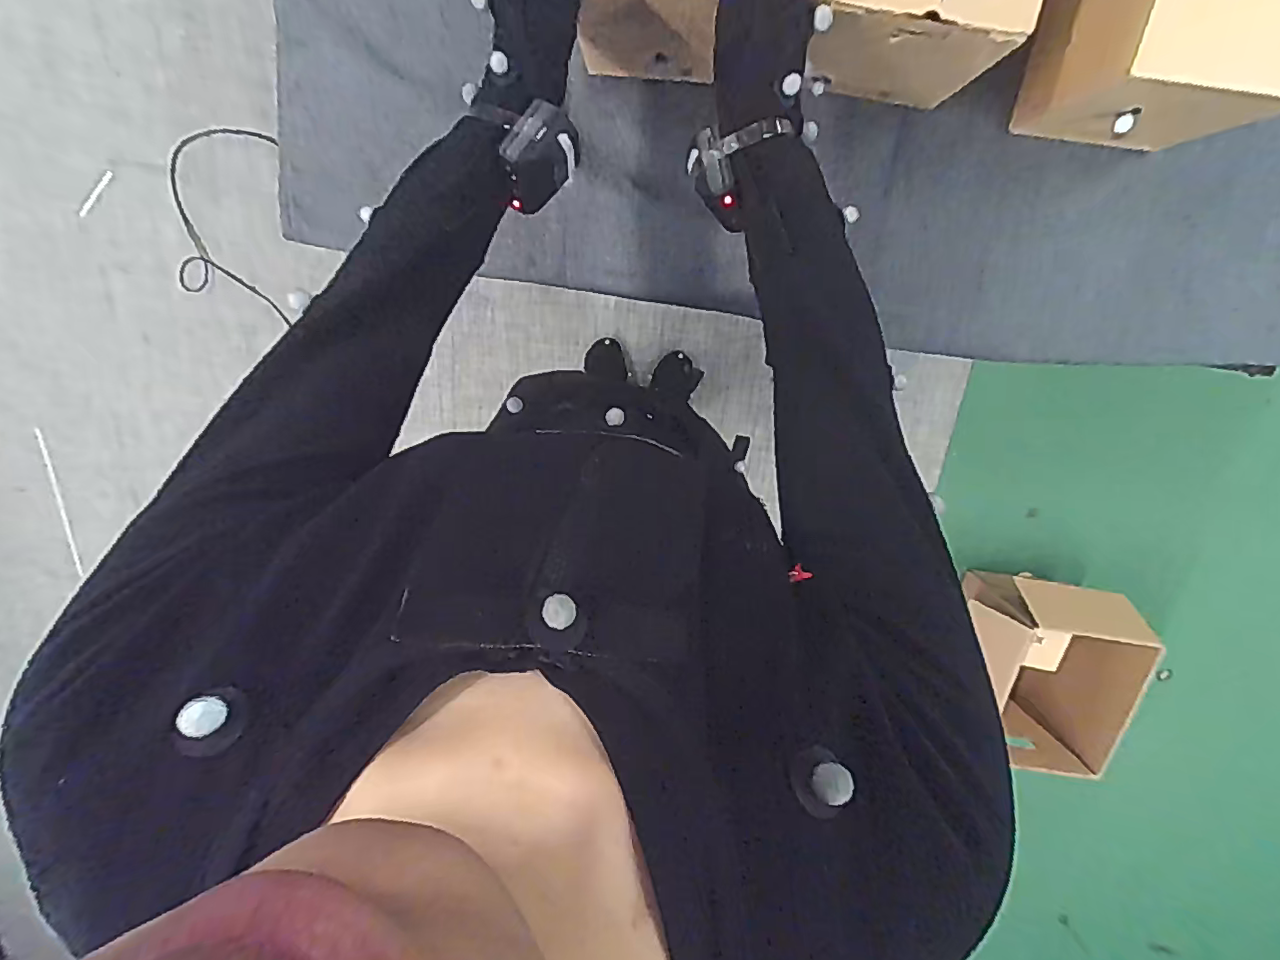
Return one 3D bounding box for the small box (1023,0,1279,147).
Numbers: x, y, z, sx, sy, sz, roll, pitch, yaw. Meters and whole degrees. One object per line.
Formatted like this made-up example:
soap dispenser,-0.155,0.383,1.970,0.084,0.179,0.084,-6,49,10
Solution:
small box,0.493,-0.422,0.486,0.168,0.176,0.179,8,109,0
